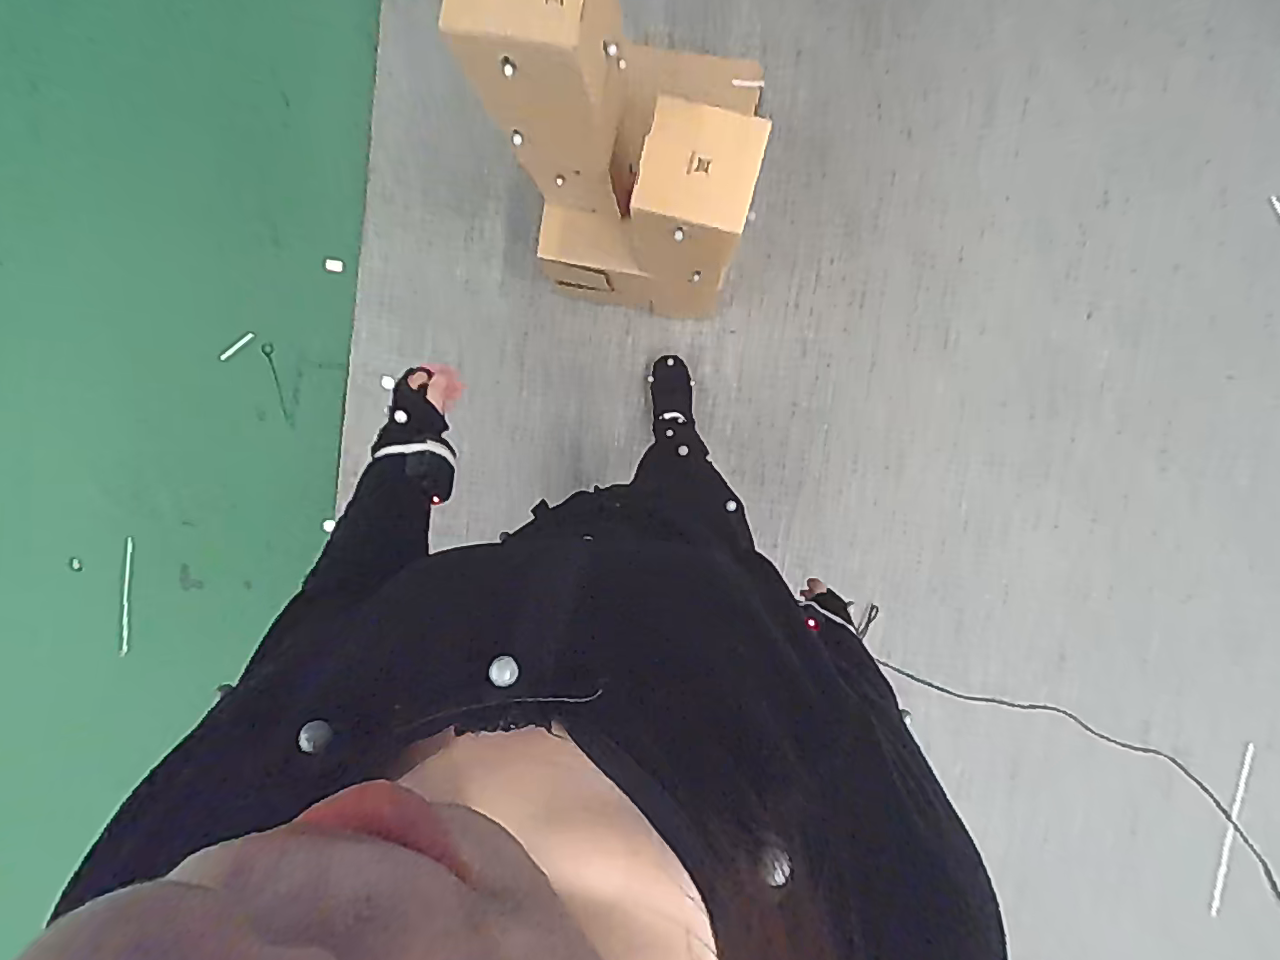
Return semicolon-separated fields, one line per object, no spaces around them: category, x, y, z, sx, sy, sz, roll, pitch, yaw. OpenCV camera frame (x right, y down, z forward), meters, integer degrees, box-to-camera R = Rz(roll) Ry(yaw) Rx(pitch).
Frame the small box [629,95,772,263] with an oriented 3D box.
small box;0.093;-0.468;0.872;0.179;0.176;0.168;15;95;3

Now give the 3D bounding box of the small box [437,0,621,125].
small box;-0.134;-0.606;0.713;0.179;0.176;0.168;13;95;5

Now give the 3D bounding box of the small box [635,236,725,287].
small box;0.097;-0.490;1.033;0.168;0.176;0.179;15;94;2

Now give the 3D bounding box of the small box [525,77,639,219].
small box;-0.102;-0.640;1.040;0.168;0.176;0.179;15;94;5
